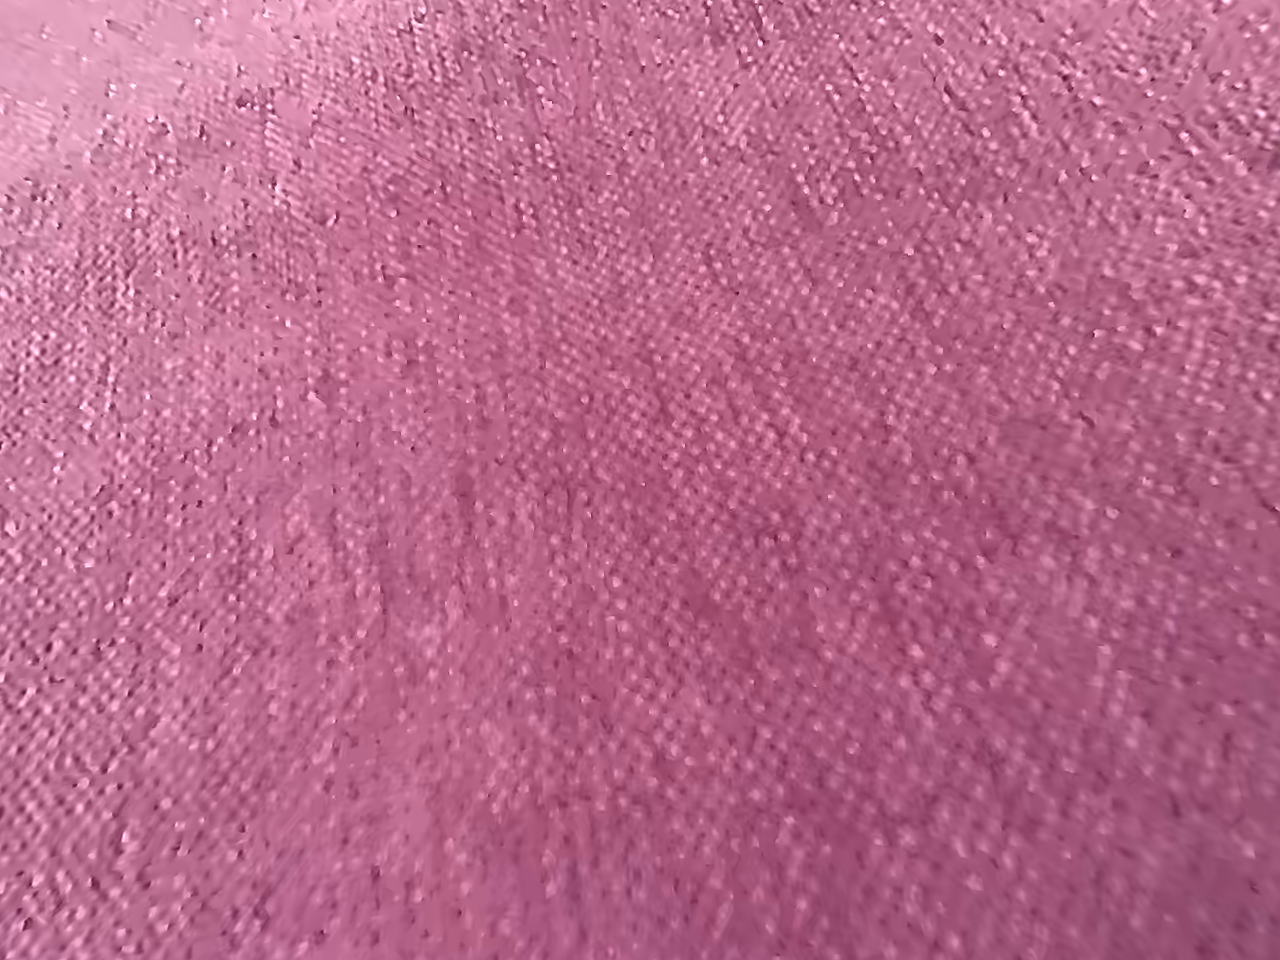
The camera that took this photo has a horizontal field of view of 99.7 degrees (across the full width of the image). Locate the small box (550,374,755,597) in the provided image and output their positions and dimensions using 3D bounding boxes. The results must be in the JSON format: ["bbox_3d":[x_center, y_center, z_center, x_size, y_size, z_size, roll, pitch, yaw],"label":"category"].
[{"bbox_3d":[0.017,0.017,0.611,0.168,0.176,0.179,-21,69,1],"label":"small box"}]

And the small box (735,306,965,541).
[{"bbox_3d":[0.211,-0.052,0.605,0.168,0.176,0.179,-20,69,2],"label":"small box"}]
